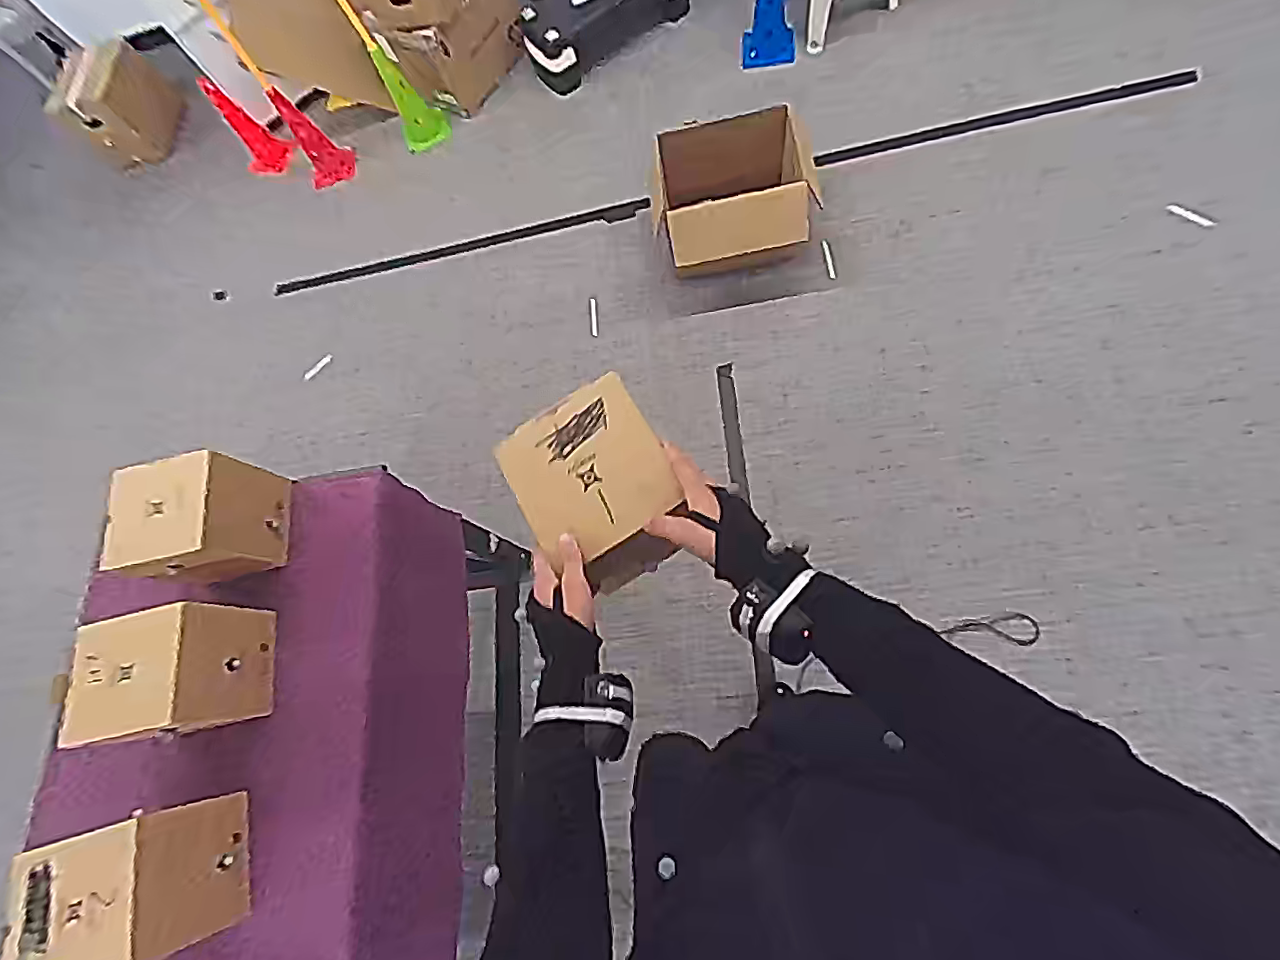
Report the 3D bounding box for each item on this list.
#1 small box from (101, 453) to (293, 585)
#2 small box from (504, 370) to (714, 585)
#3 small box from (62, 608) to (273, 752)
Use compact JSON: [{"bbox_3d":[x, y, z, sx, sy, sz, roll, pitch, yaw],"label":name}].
[{"bbox_3d":[-0.725,0.074,0.903,0.179,0.176,0.168,-13,71,8],"label":"small box"},{"bbox_3d":[-0.028,0.009,0.649,0.168,0.176,0.179,-32,68,4],"label":"small box"},{"bbox_3d":[-0.699,0.298,0.823,0.179,0.176,0.168,-15,69,7],"label":"small box"}]
